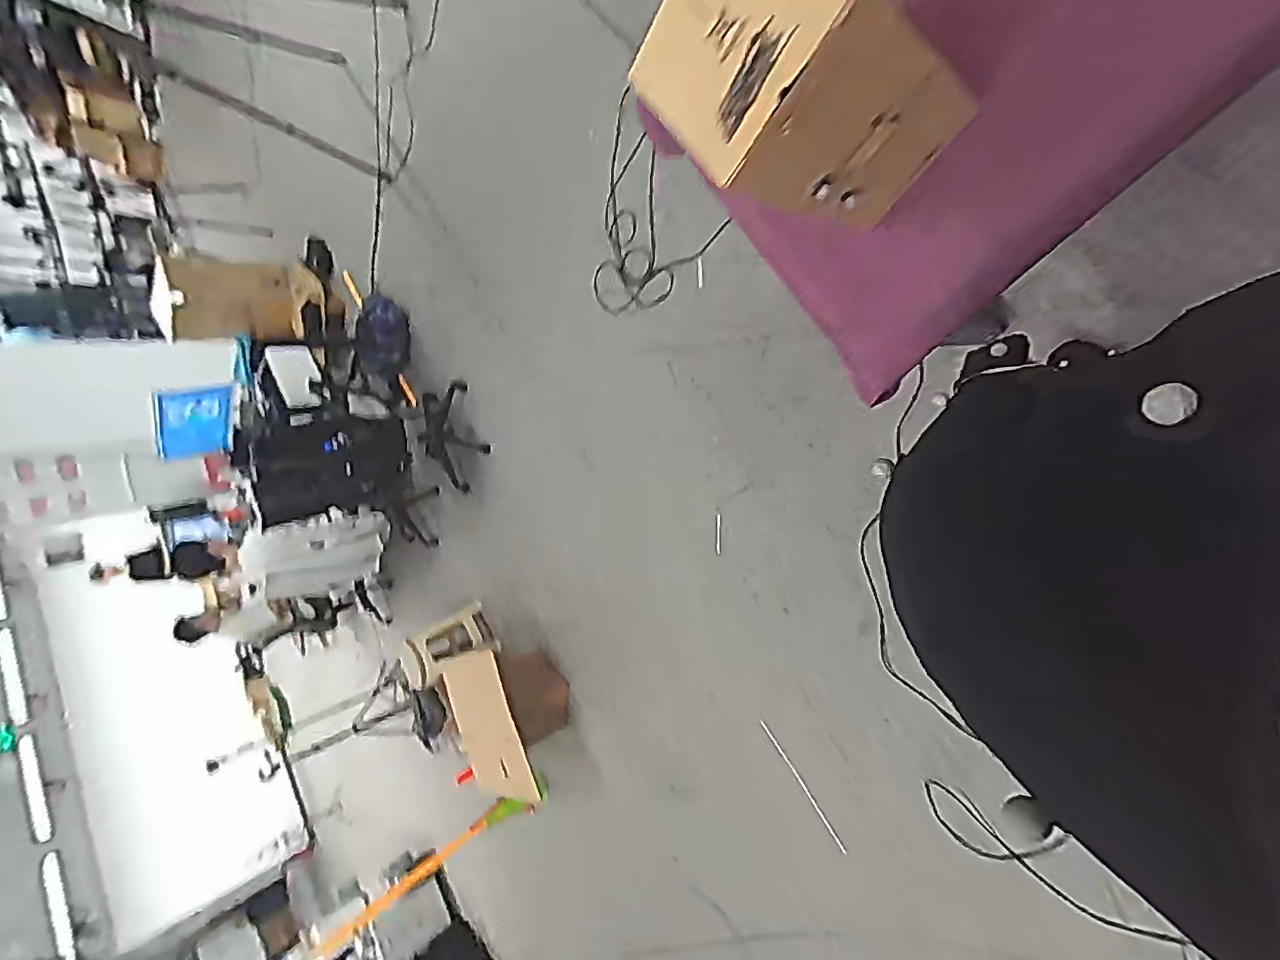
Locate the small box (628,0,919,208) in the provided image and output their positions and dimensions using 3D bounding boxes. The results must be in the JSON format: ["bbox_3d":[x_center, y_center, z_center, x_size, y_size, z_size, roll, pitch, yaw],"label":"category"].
[{"bbox_3d":[0.128,-0.389,0.516,0.168,0.176,0.179,-43,71,40],"label":"small box"}]
